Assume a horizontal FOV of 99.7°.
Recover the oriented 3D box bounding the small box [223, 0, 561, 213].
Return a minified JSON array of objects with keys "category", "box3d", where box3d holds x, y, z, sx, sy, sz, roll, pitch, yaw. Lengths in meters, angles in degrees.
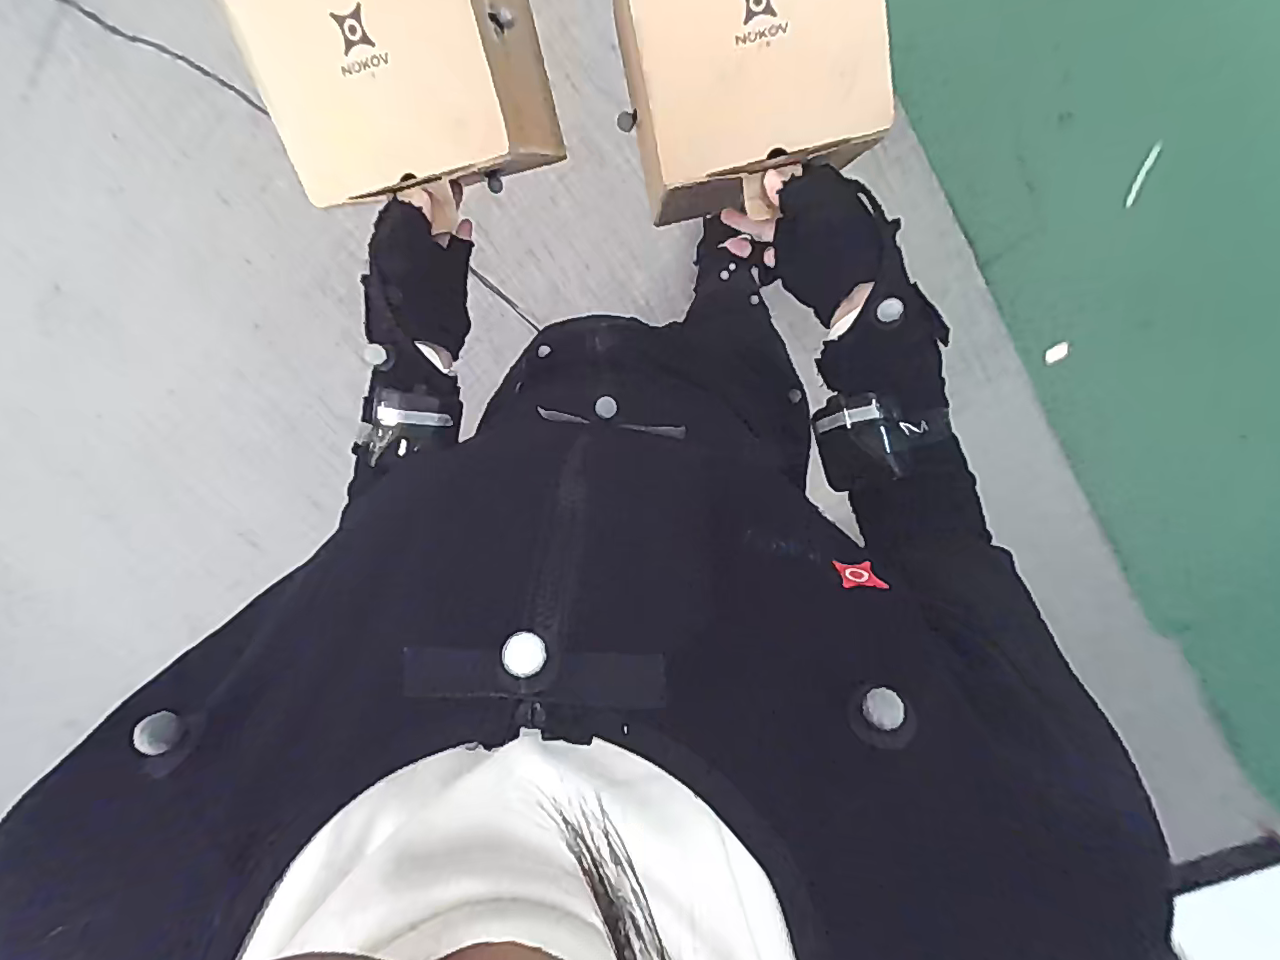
[{"category":"small box","box3d":[-0.177,-0.332,0.431,0.168,0.176,0.179,-9,118,12]}]
